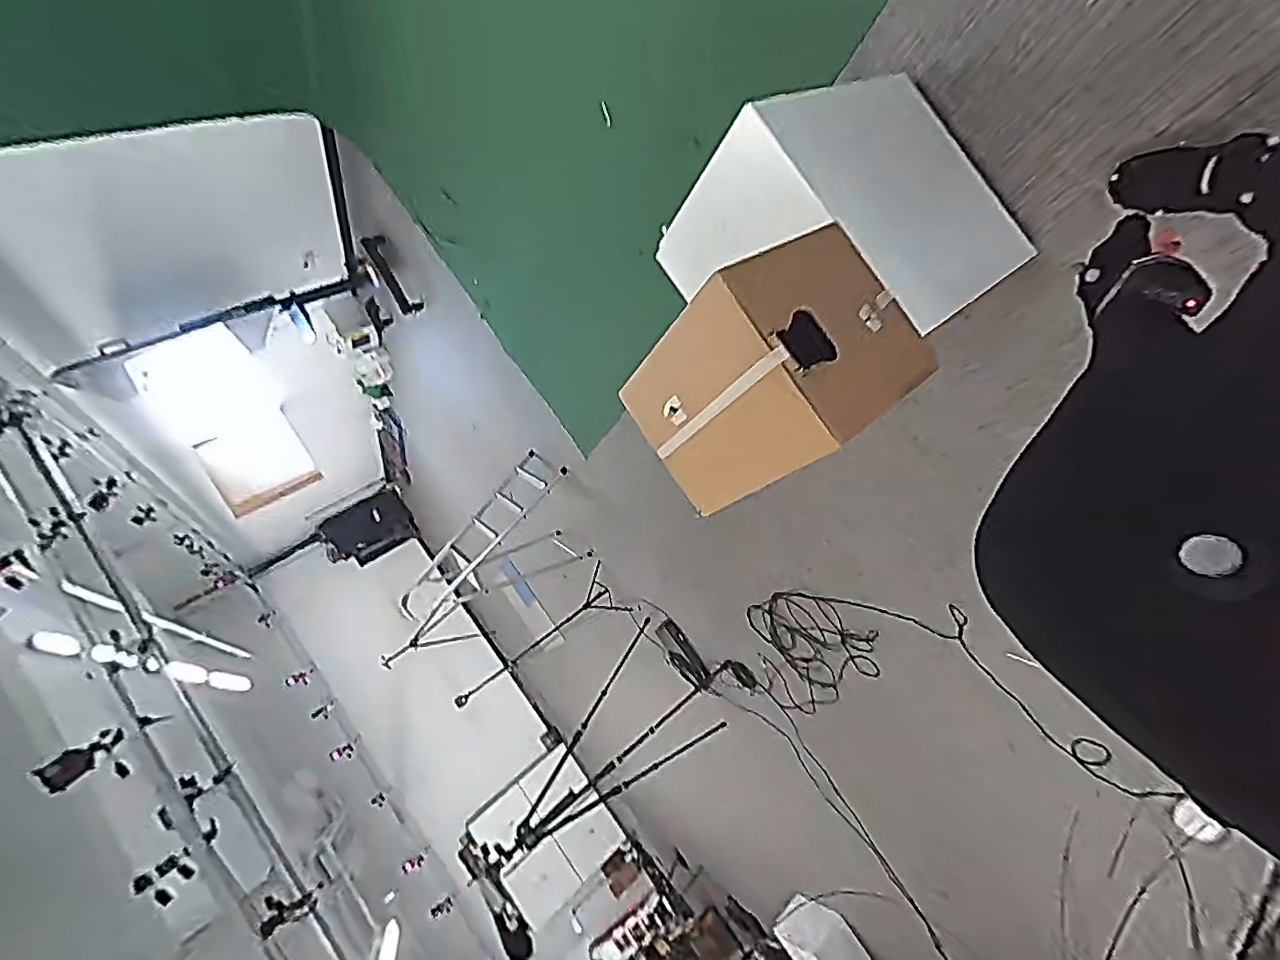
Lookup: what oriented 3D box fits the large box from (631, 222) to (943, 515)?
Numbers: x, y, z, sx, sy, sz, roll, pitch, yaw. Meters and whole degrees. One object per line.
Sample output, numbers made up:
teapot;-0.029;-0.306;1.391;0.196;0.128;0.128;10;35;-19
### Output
large box;0.247;-0.187;1.008;0.320;0.320;0.408;56;152;4
